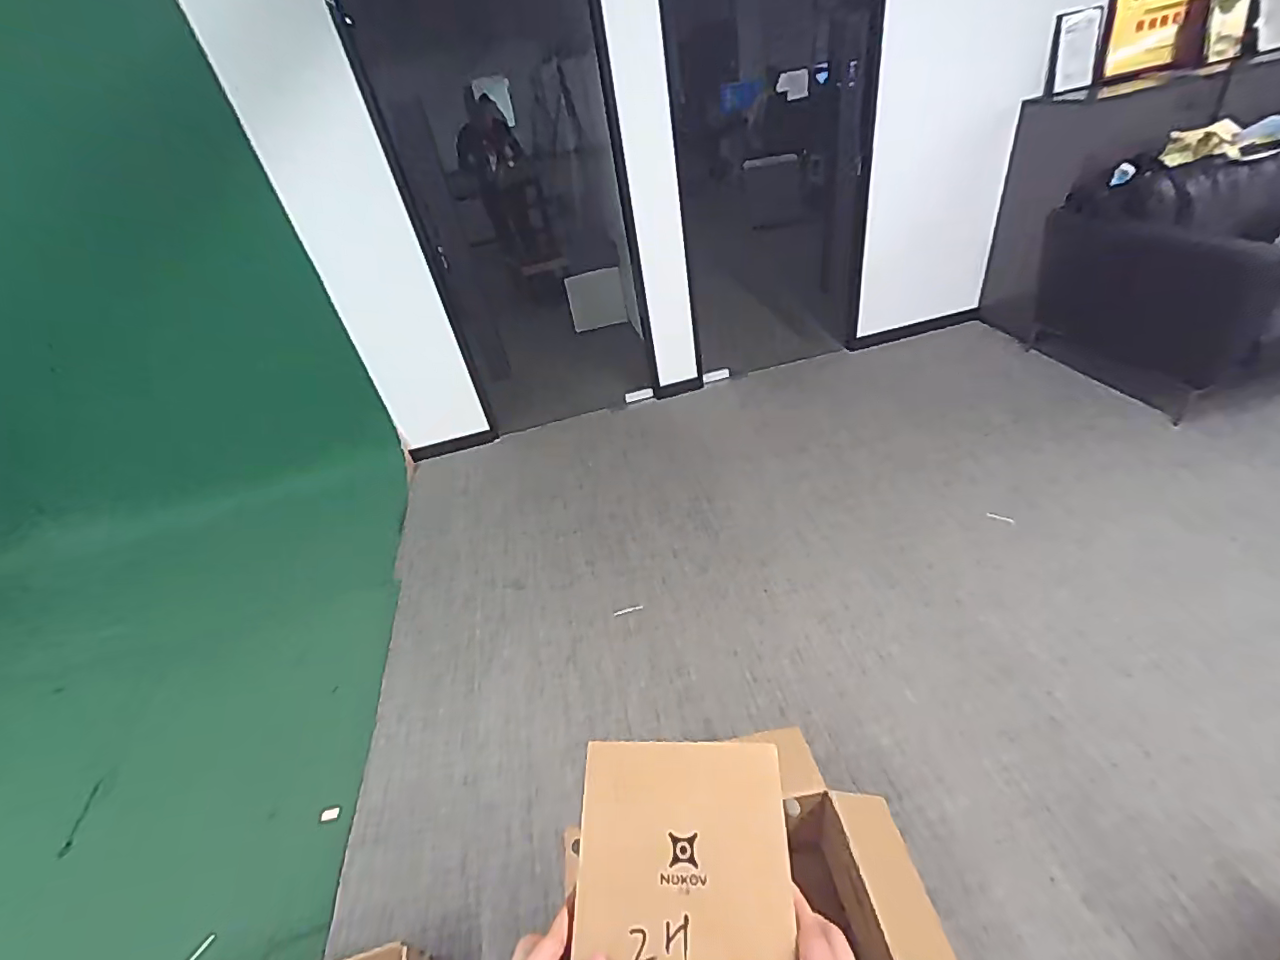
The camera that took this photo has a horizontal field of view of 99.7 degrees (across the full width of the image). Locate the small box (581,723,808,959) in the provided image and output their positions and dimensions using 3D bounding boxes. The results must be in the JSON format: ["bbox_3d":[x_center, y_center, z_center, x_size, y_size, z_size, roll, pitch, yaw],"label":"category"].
[{"bbox_3d":[0.050,0.336,0.496,0.168,0.176,0.179,-3,54,7],"label":"small box"}]
